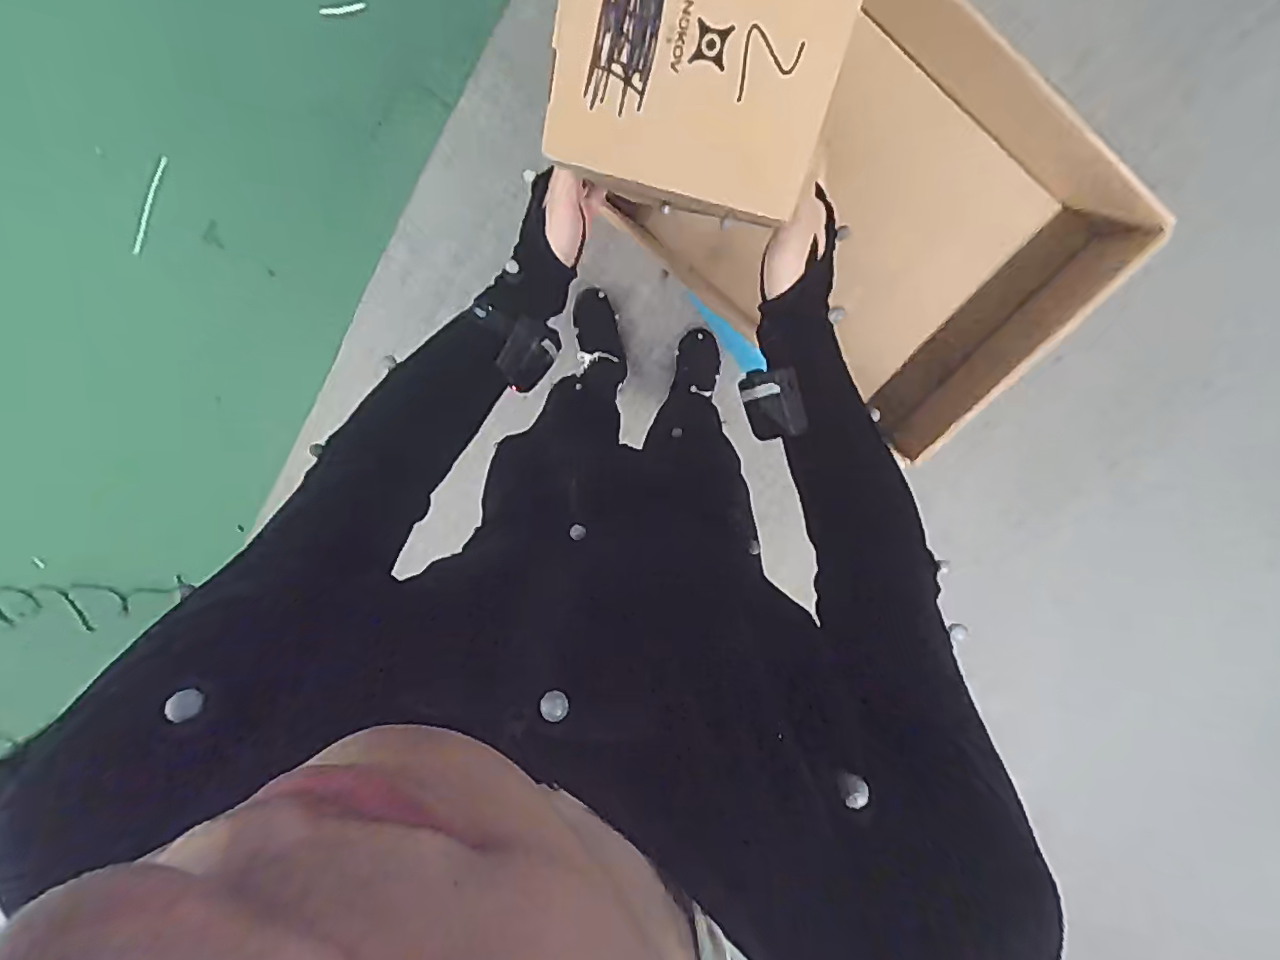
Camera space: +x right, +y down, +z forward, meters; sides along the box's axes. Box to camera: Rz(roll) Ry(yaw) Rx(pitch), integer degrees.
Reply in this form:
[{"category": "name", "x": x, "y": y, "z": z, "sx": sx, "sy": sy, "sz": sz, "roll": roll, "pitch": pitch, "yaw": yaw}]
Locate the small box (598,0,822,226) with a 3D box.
[{"category": "small box", "x": 0.065, "y": -0.364, "z": 0.541, "sx": 0.168, "sy": 0.176, "sz": 0.179, "roll": 12, "pitch": 115, "yaw": 4}]
